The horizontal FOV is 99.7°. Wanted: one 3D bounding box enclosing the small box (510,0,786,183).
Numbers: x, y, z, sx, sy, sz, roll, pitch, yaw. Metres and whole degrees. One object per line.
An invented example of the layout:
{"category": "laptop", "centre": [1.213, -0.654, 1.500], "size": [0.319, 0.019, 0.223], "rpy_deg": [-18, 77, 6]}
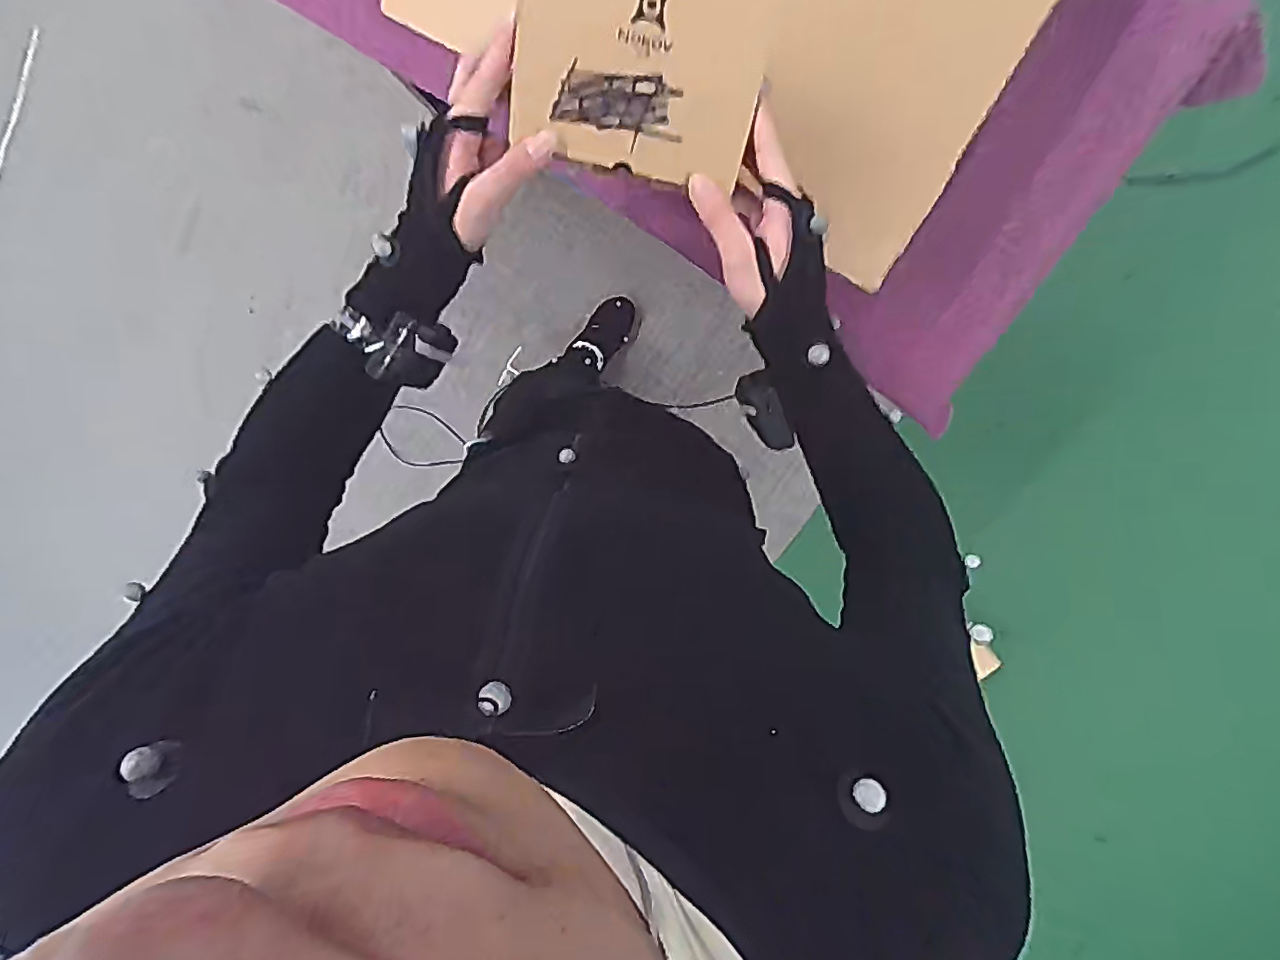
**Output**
{"category": "small box", "centre": [0.011, -0.340, 0.402], "size": [0.168, 0.176, 0.179], "rpy_deg": [12, 120, -5]}
